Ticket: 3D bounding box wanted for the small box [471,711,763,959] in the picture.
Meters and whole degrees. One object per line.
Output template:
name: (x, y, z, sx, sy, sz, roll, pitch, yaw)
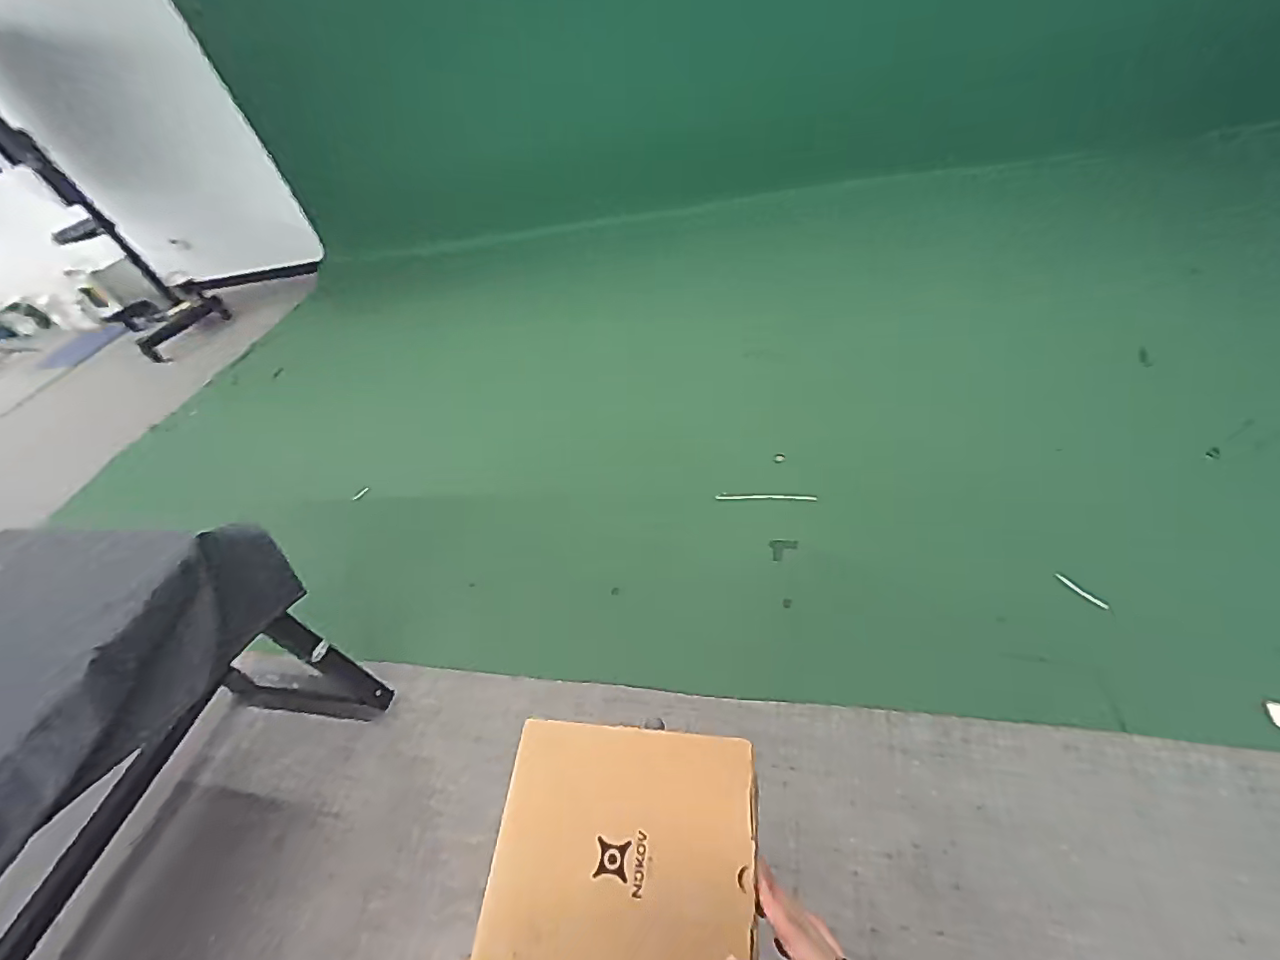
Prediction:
small box: (0.003, 0.293, 0.415, 0.179, 0.176, 0.168, 0, 53, 12)
